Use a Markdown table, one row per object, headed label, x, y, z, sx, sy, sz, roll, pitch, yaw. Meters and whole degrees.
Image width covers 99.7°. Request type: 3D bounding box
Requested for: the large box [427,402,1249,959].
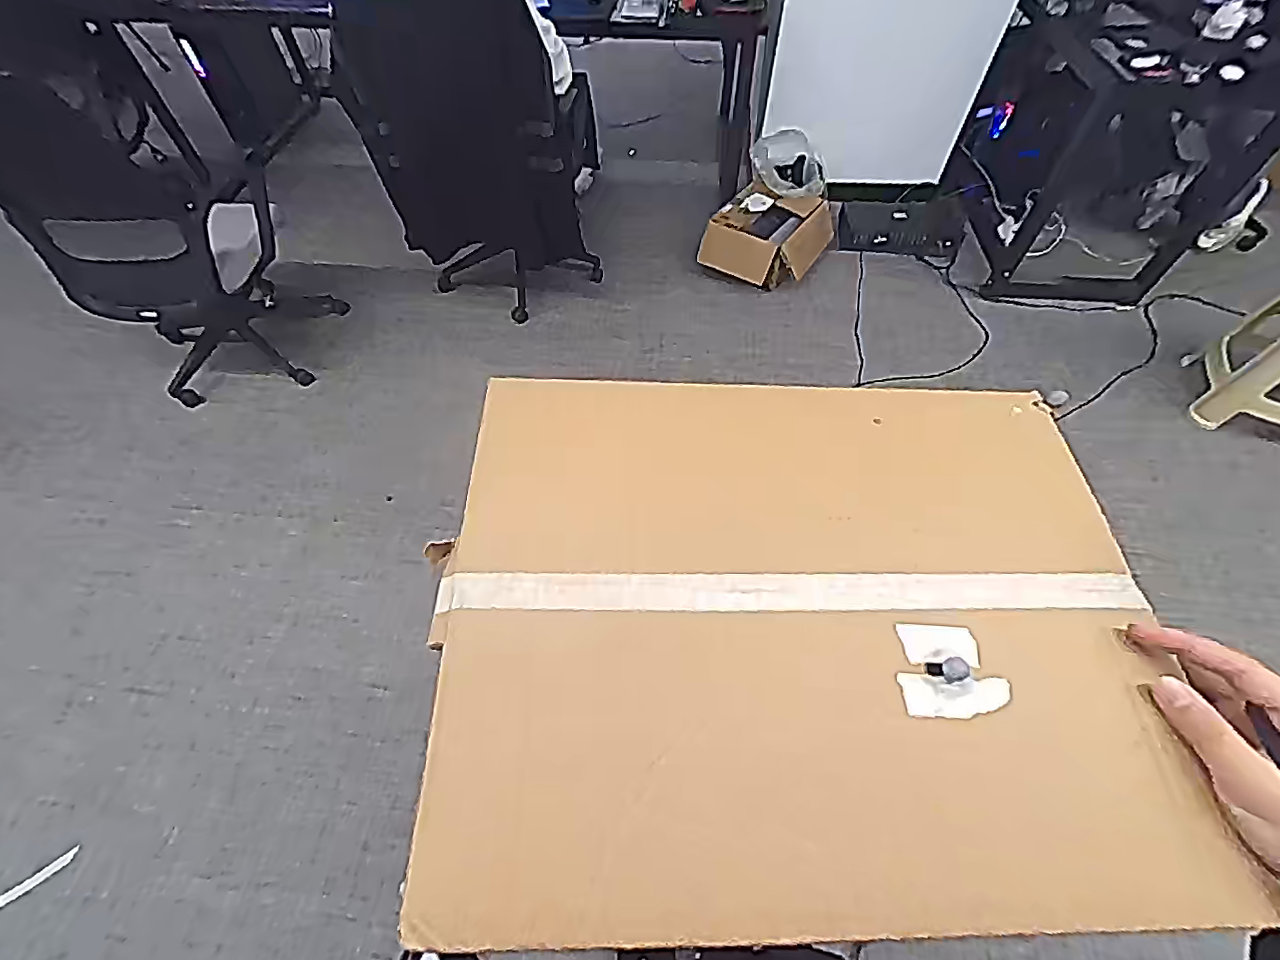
| label | x | y | z | sx | sy | sz | roll | pitch | yaw |
| --- | --- | --- | --- | --- | --- | --- | --- | --- | --- |
| large box | 0.086 | 0.152 | 0.451 | 0.408 | 0.320 | 0.320 | 1 | 60 | -4 |
